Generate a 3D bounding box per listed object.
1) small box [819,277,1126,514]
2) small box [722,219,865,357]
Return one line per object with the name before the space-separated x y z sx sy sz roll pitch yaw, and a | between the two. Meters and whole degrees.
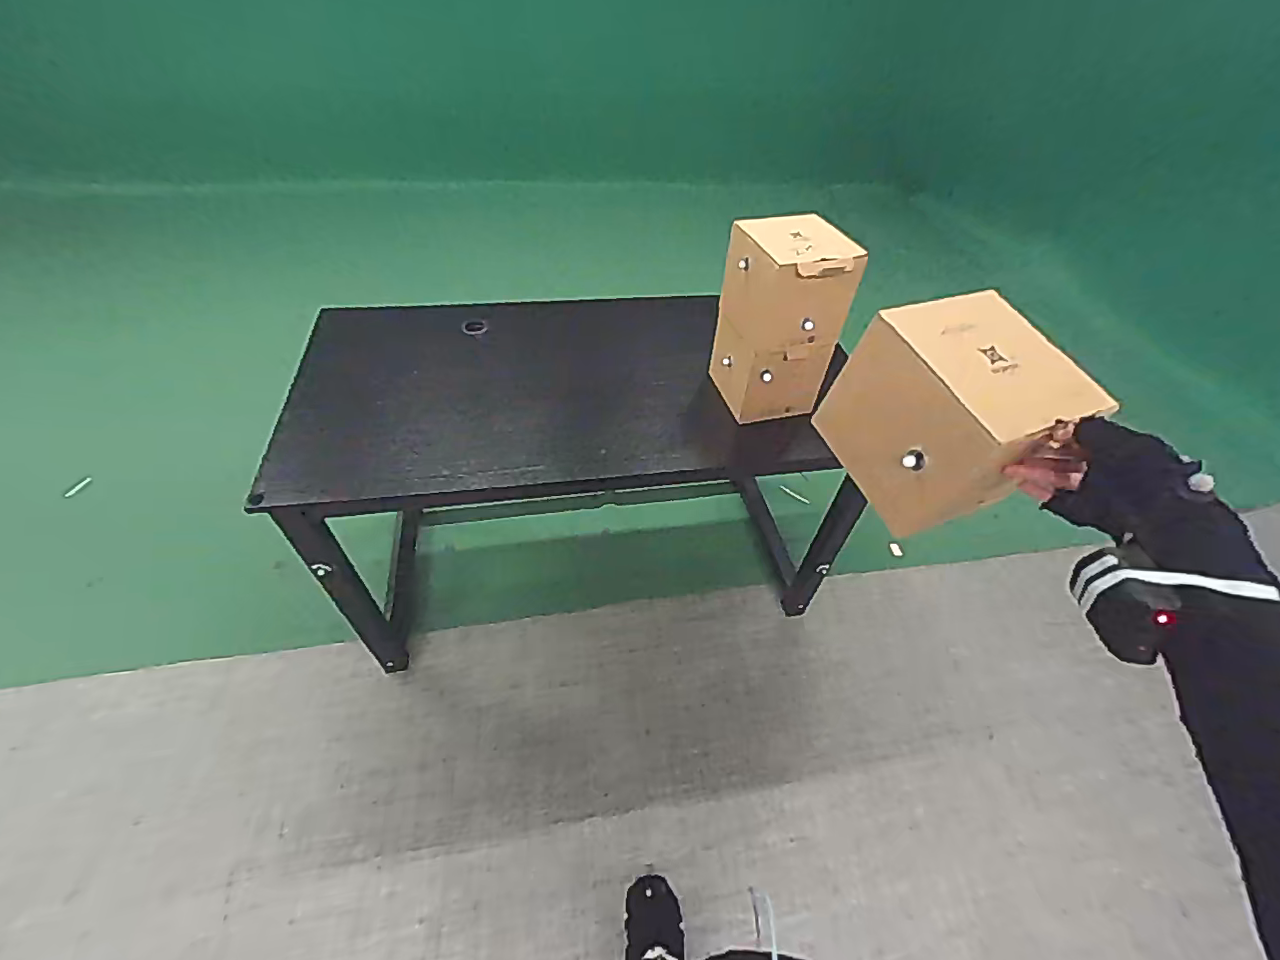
small box | 0.327 -0.082 0.571 0.168 0.176 0.179 -15 59 -20
small box | 0.261 -0.345 0.970 0.168 0.176 0.179 -12 50 -14
